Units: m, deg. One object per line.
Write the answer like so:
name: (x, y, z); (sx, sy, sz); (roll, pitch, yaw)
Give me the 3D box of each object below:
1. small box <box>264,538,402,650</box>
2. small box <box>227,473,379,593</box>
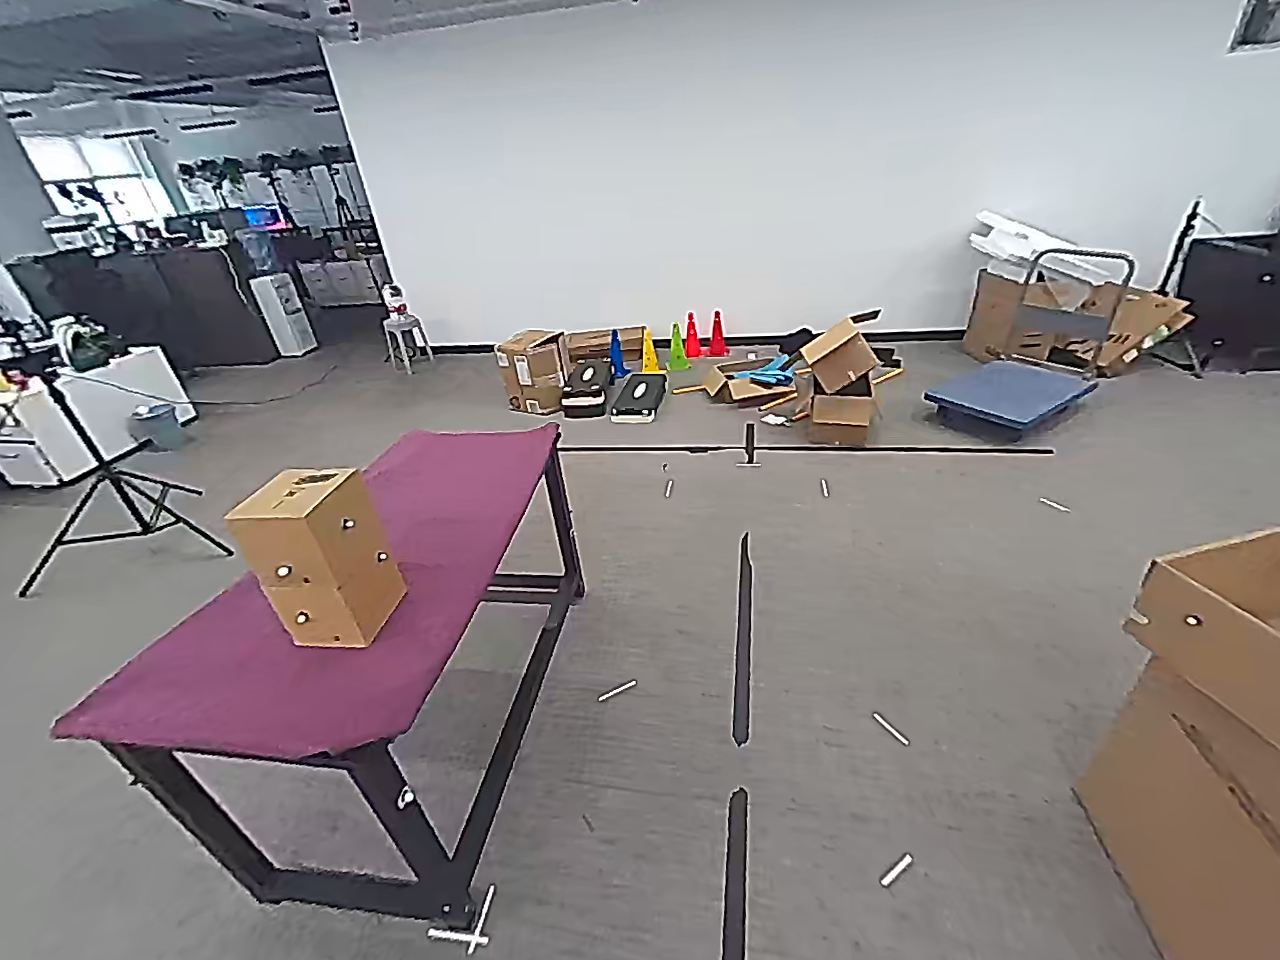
small box: (-0.636, 0.242, 1.151); (0.168, 0.176, 0.179); (-1, 31, 8)
small box: (-0.646, 0.100, 1.067); (0.168, 0.176, 0.179); (-2, 31, 8)
